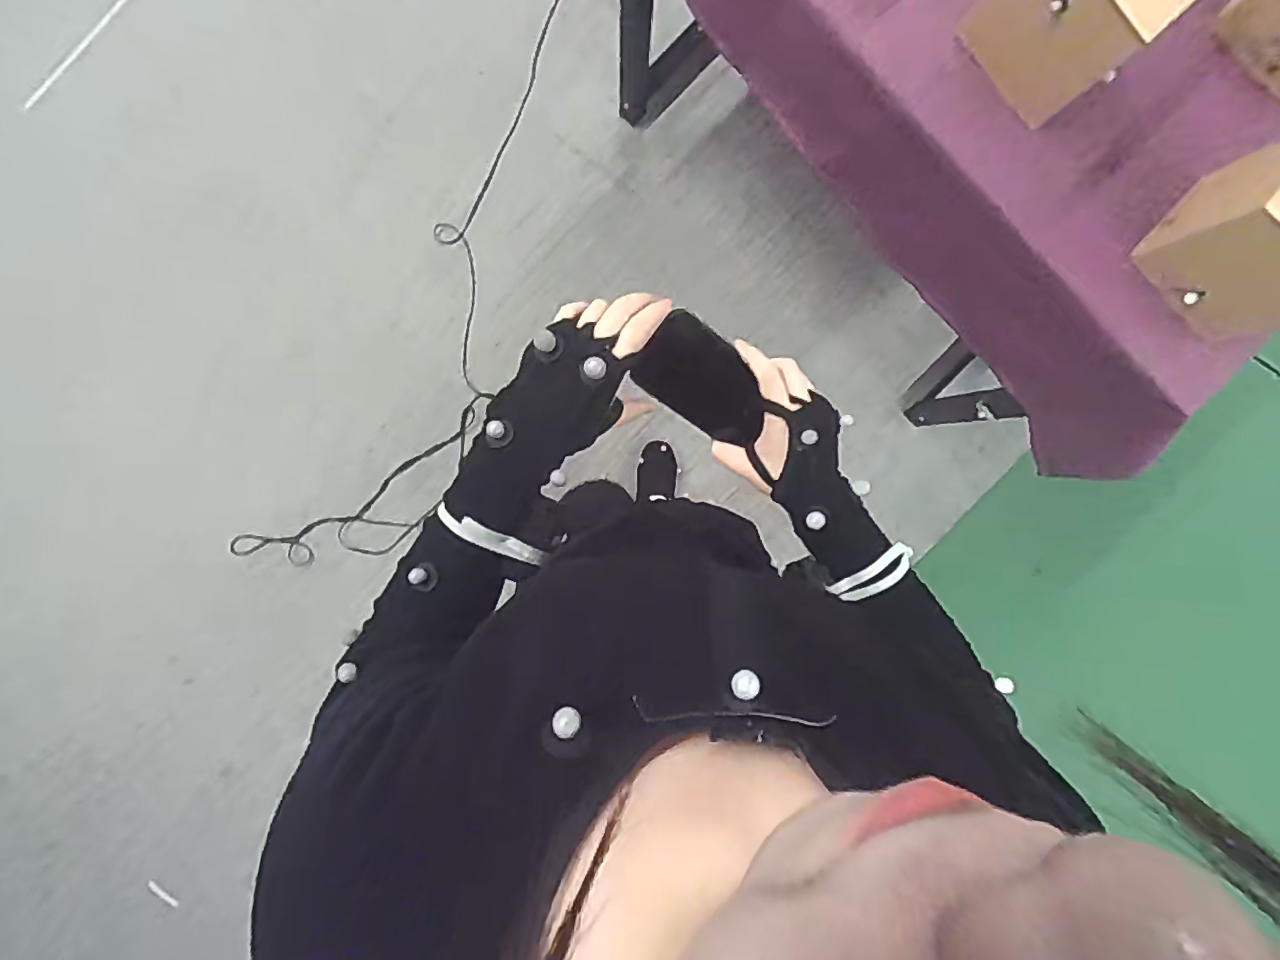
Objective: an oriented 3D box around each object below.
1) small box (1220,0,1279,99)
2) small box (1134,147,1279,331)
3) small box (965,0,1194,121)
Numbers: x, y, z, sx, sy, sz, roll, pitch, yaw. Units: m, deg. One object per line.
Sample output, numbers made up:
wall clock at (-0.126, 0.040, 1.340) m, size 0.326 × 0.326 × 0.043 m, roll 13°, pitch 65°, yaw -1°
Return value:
small box at (0.918, -0.643, 0.679) m, size 0.168 × 0.176 × 0.179 m, roll 42°, pitch 91°, yaw -4°
small box at (0.816, -0.313, 0.695) m, size 0.179 × 0.176 × 0.168 m, roll 44°, pitch 90°, yaw -4°
small box at (0.555, -0.602, 0.667) m, size 0.168 × 0.176 × 0.179 m, roll -42°, pitch 95°, yaw 0°
